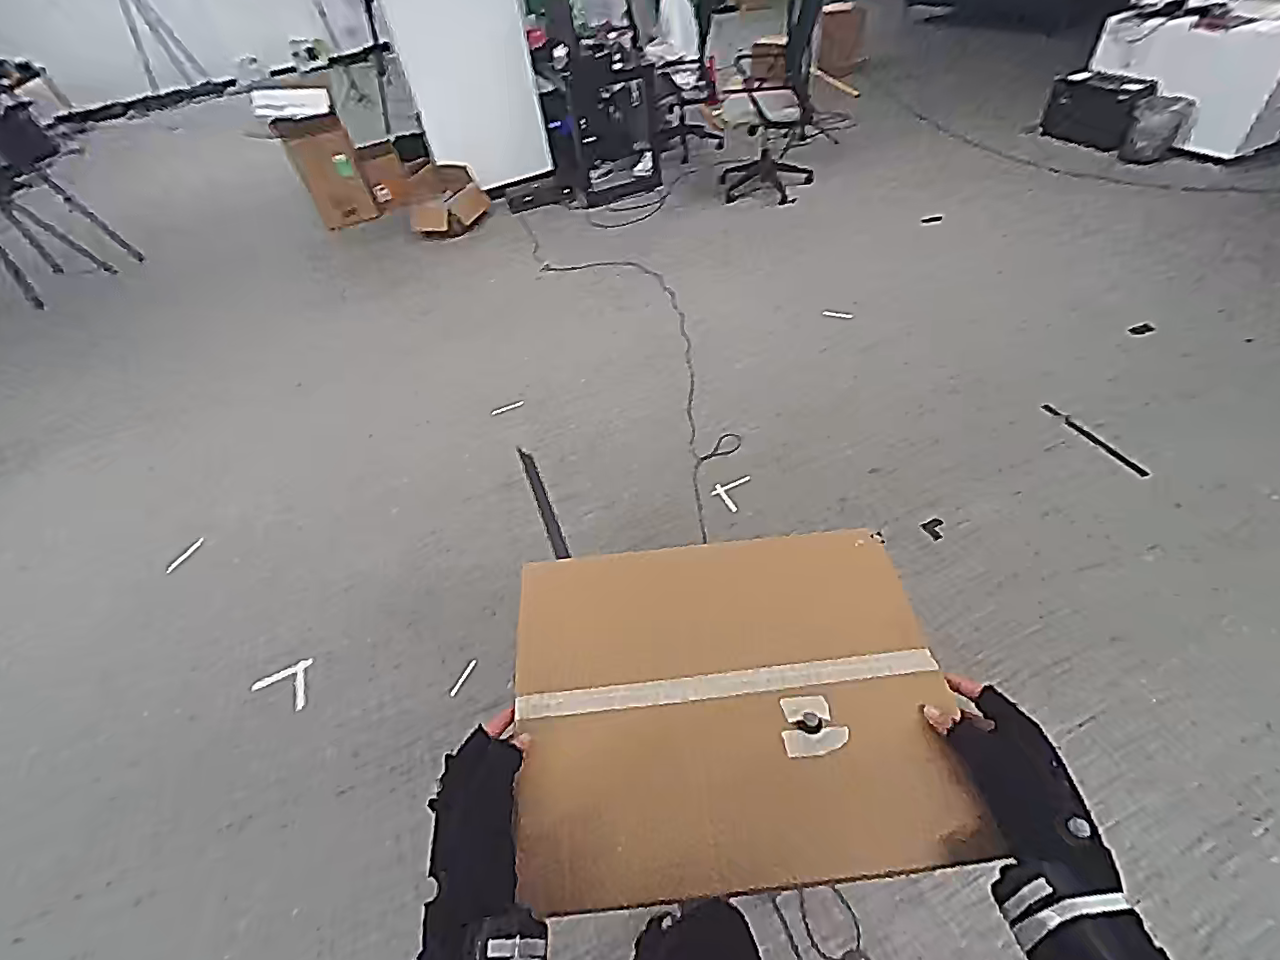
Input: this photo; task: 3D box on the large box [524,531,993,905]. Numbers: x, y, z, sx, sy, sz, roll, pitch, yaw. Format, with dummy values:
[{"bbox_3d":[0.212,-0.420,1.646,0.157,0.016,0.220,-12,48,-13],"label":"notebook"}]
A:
[{"bbox_3d":[0.091,0.292,0.652,0.408,0.320,0.320,-6,52,-1],"label":"large box"}]
